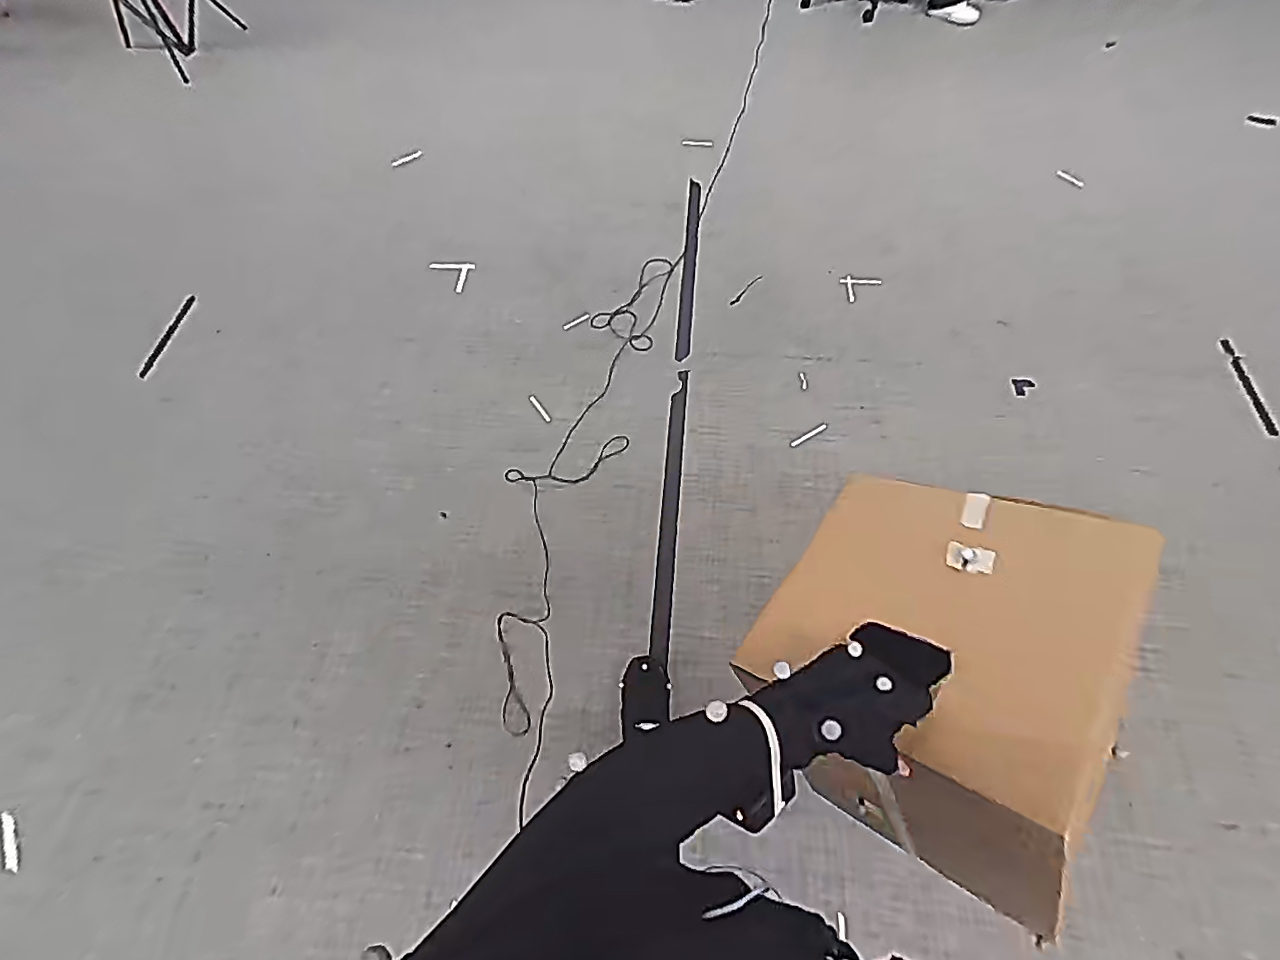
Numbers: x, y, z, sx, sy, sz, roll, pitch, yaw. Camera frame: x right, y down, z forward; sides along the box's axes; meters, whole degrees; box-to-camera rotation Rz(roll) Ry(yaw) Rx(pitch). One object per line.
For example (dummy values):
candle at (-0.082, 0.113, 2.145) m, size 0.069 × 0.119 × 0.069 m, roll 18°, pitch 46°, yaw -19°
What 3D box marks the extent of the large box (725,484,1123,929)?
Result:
large box at (0.376, 0.260, 0.684) m, size 0.320 × 0.408 × 0.320 m, roll 14°, pitch 57°, yaw 47°
